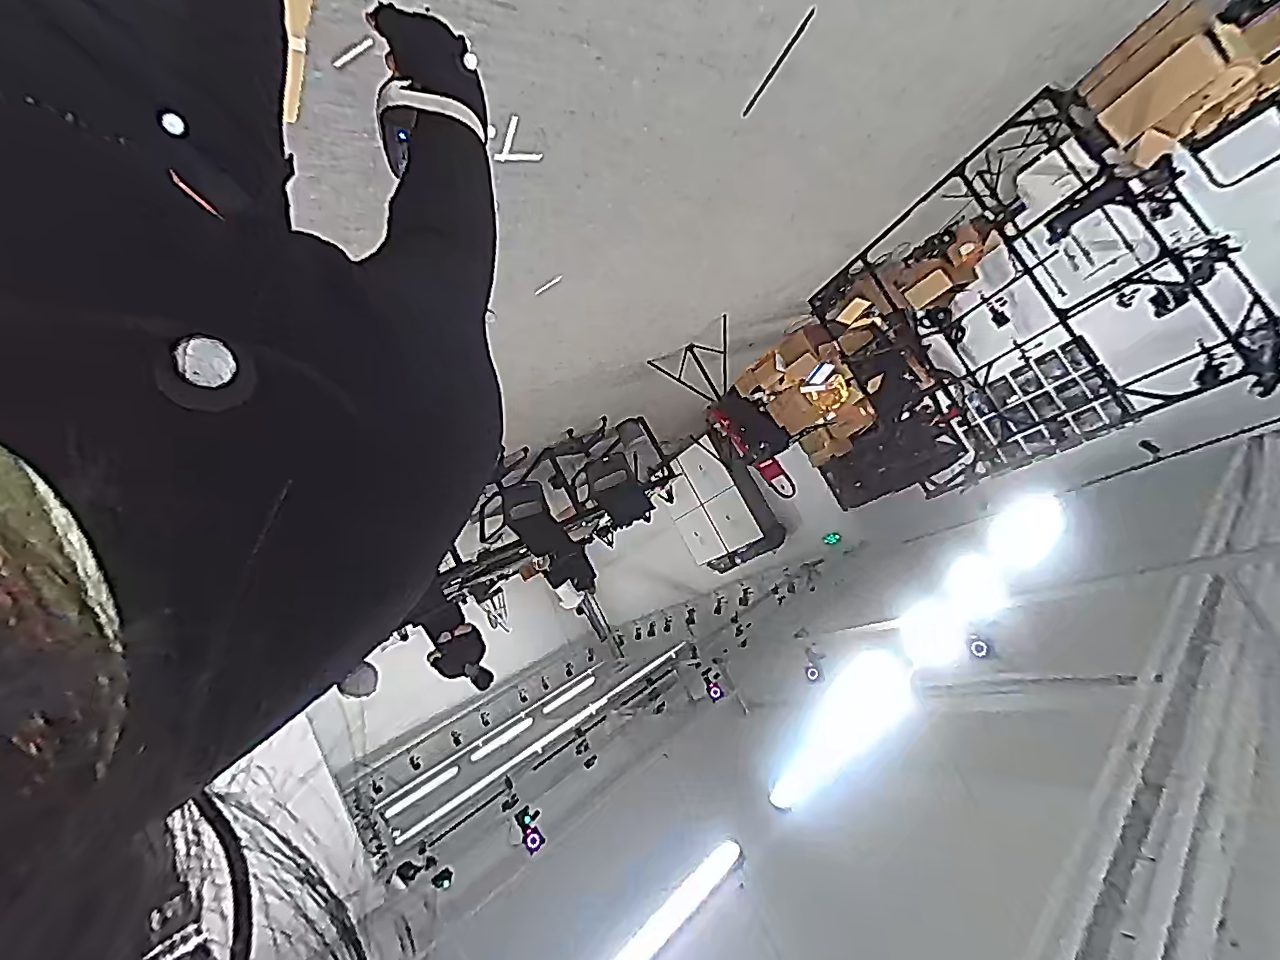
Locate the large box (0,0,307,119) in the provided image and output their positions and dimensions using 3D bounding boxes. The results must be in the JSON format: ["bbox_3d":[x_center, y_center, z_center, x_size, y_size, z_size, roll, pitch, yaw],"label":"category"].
[{"bbox_3d":[-0.783,-0.823,0.809,0.408,0.320,0.320,-23,170,-44],"label":"large box"}]
